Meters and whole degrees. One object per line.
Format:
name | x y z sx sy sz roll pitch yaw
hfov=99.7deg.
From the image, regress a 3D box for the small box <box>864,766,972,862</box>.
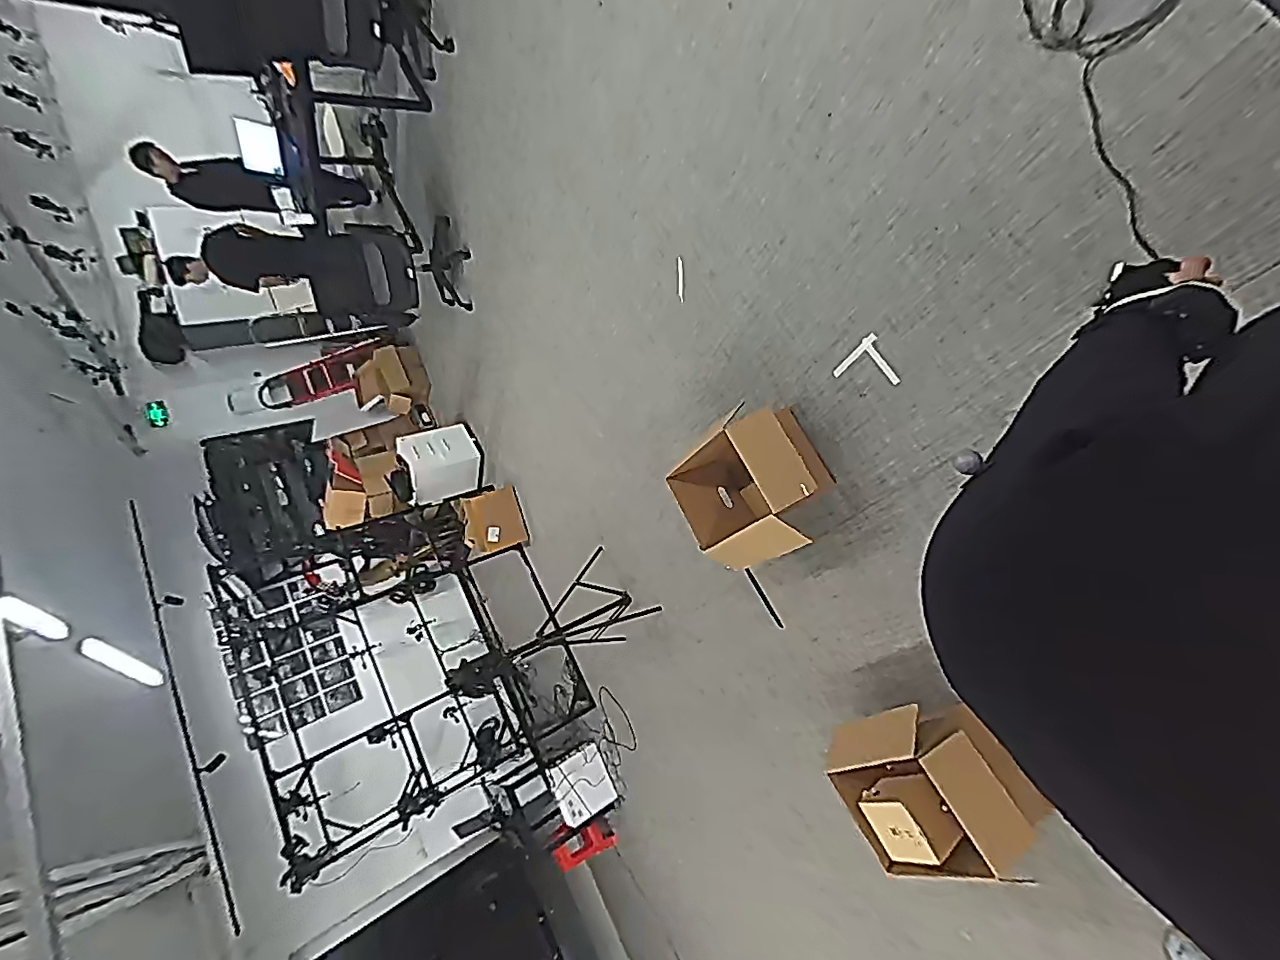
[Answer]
small box | 0.780 0.929 1.517 0.168 0.176 0.179 60 146 16
